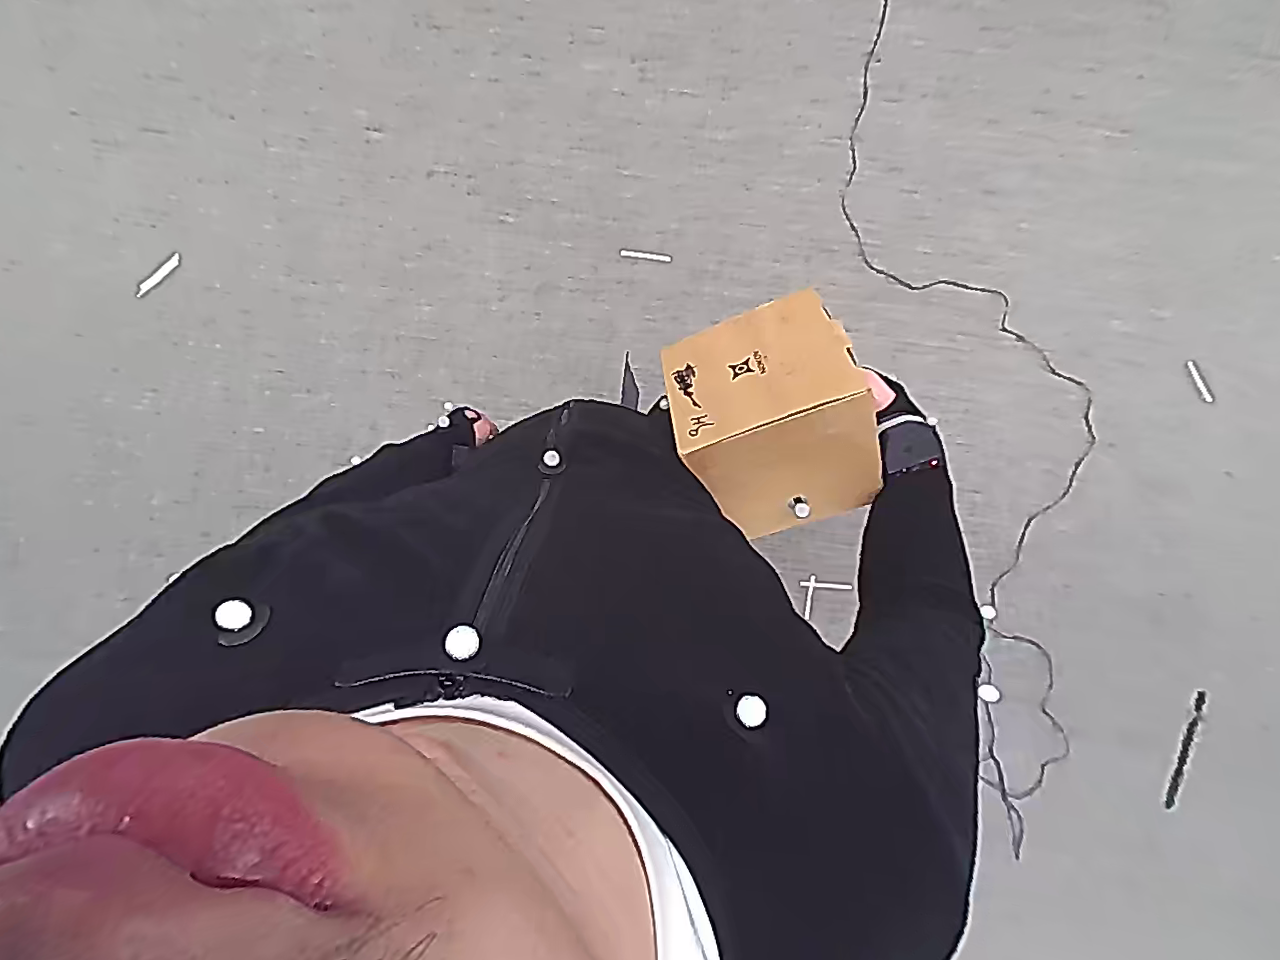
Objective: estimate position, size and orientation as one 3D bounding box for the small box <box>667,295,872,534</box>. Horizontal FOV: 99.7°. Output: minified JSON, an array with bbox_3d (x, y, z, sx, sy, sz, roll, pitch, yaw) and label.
[{"bbox_3d":[0.145,-0.065,0.602,0.179,0.168,0.176,-18,137,14],"label":"small box"}]
